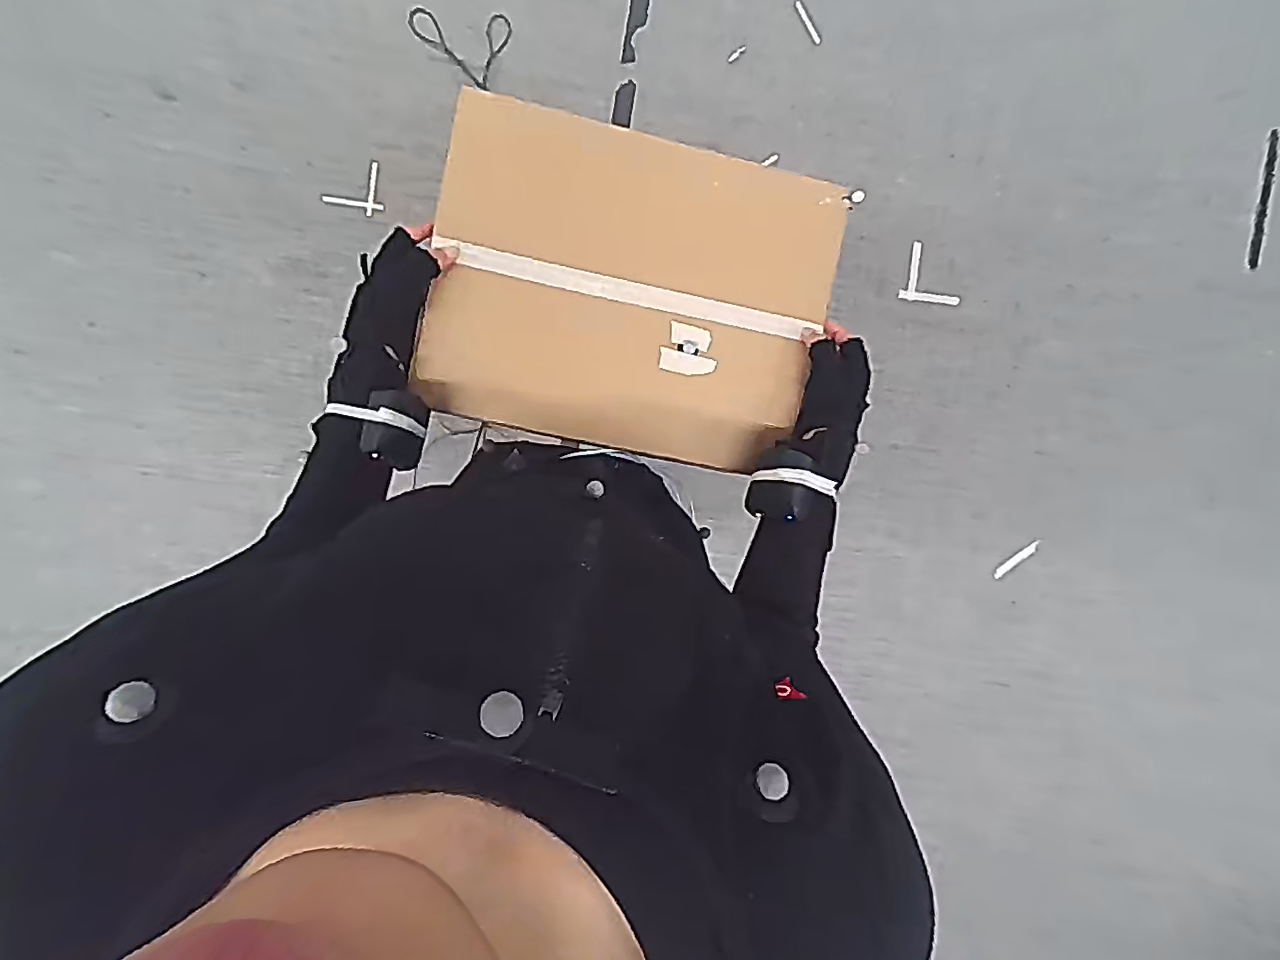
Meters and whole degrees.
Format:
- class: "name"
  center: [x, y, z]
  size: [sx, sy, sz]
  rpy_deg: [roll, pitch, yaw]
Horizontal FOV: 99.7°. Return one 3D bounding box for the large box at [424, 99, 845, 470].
- class: "large box"
  center: [-0.017, -0.206, 0.712]
  size: [0.408, 0.320, 0.320]
  rpy_deg: [12, 94, -6]
